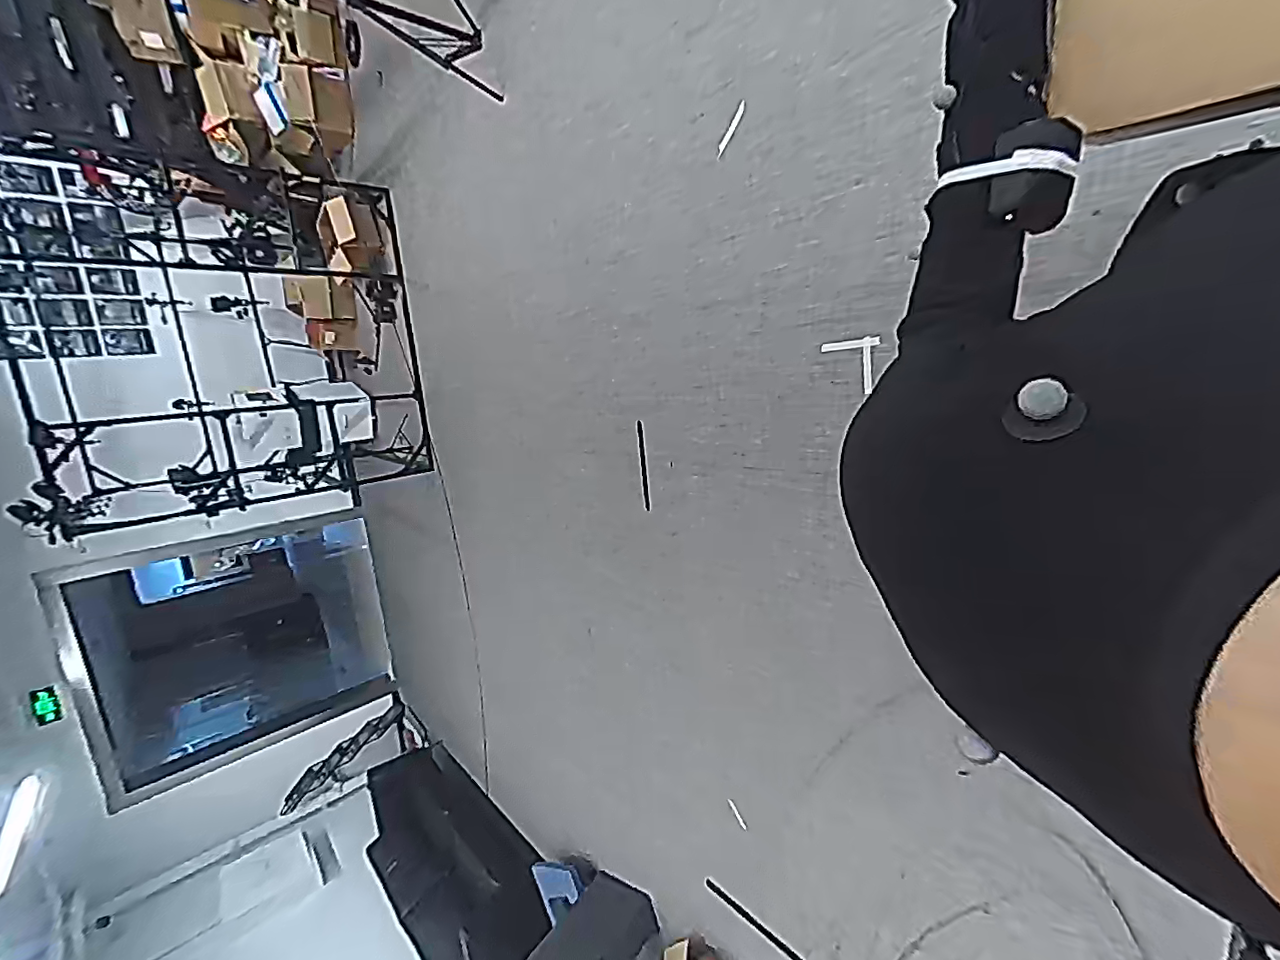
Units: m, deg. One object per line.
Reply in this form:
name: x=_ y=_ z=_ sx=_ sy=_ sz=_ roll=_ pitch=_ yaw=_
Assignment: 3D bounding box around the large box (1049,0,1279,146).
large box: x=0.535 y=-0.442 z=0.338 sx=0.408 sy=0.320 sz=0.320 roll=10 pitch=120 yaw=43
